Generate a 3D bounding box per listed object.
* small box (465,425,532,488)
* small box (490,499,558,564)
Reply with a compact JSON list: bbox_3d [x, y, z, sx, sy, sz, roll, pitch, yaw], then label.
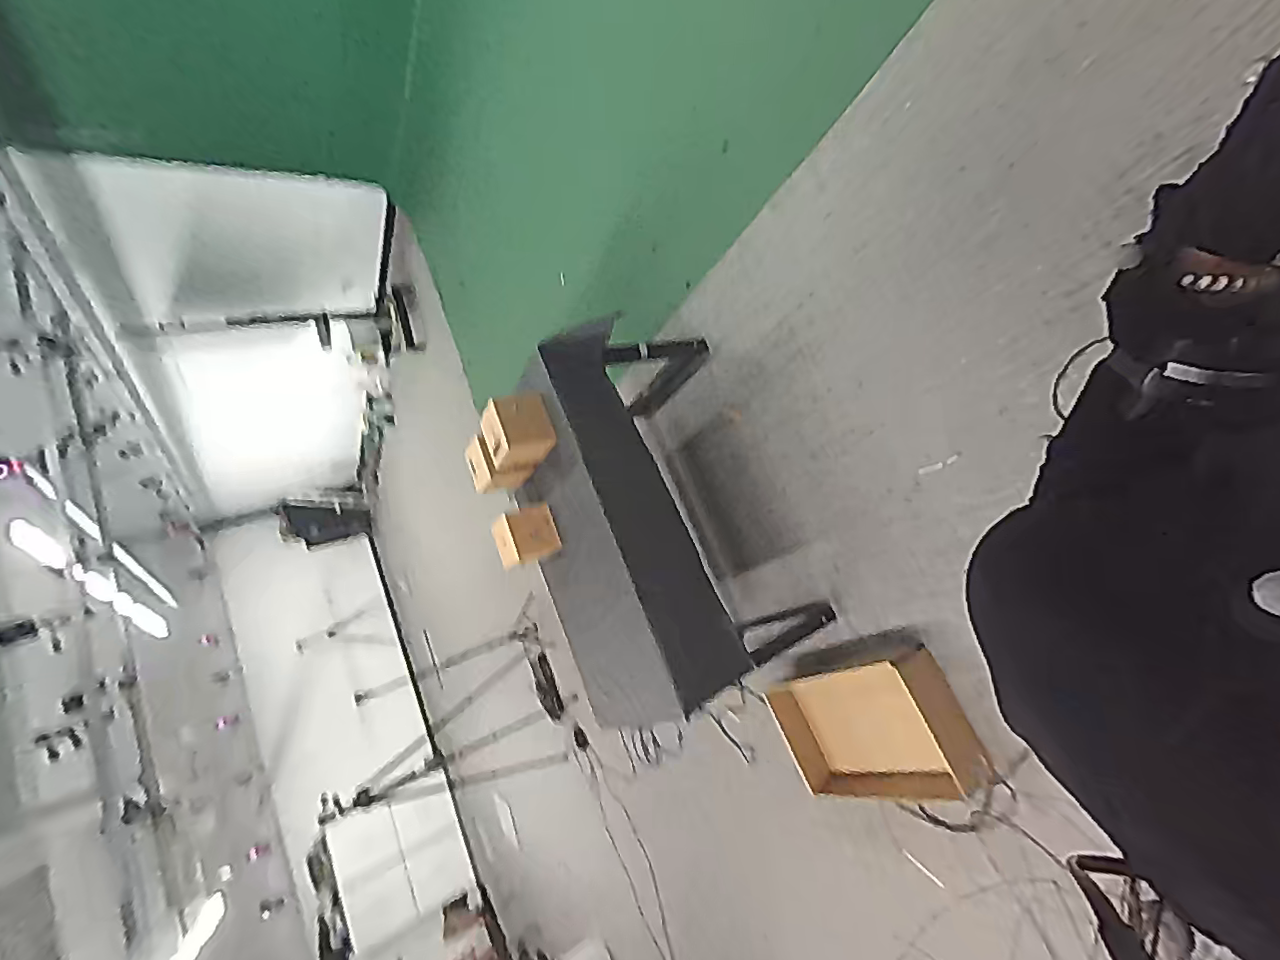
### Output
[{"bbox_3d":[-0.511,-0.085,1.955,0.179,0.176,0.168,-33,75,53],"label":"small box"},{"bbox_3d":[-0.404,0.180,1.906,0.179,0.176,0.168,-33,75,54],"label":"small box"}]
